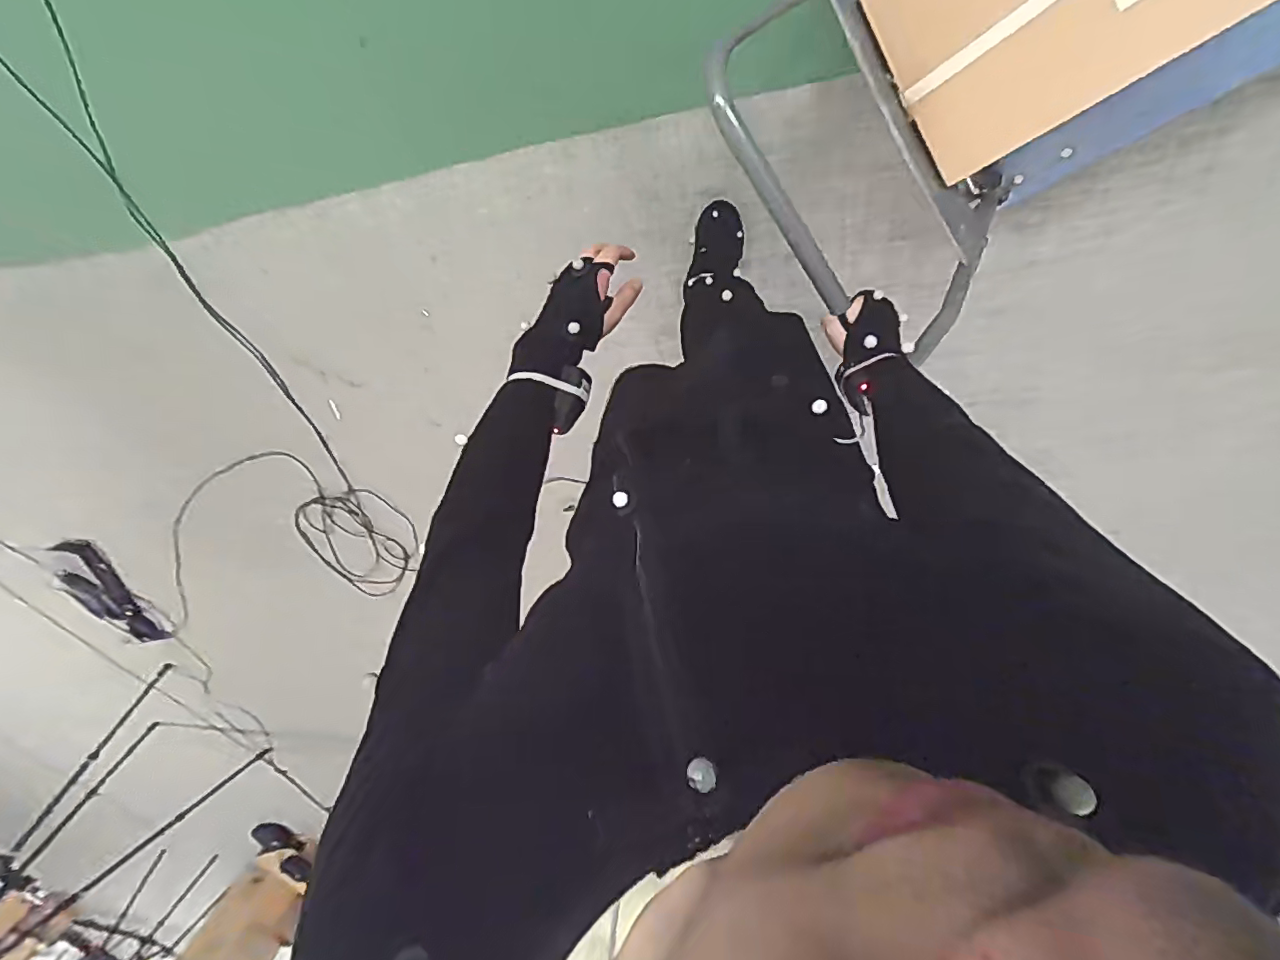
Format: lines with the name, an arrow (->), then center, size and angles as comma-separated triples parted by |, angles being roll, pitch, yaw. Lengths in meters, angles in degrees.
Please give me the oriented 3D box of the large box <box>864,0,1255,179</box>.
large box -> 0.614, -0.742, 0.793 | 0.408, 0.320, 0.320 | -19, 117, 46
